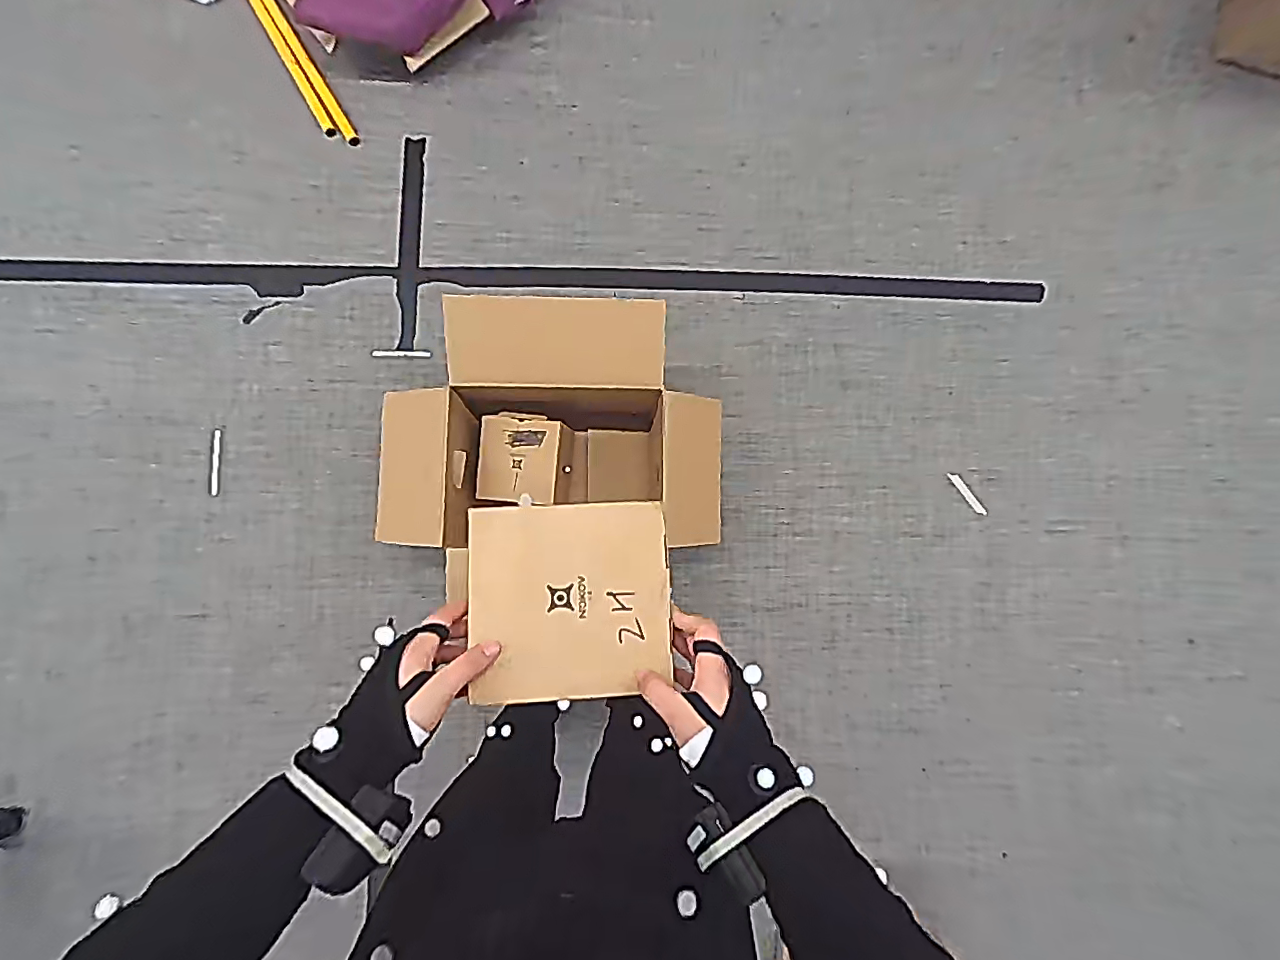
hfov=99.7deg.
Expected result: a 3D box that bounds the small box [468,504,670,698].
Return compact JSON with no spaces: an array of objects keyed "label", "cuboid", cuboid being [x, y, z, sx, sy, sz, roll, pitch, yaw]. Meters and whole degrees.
[{"label":"small box","cuboid":[-0.068,0.118,0.555,0.179,0.176,0.168,-2,81,-5]}]
